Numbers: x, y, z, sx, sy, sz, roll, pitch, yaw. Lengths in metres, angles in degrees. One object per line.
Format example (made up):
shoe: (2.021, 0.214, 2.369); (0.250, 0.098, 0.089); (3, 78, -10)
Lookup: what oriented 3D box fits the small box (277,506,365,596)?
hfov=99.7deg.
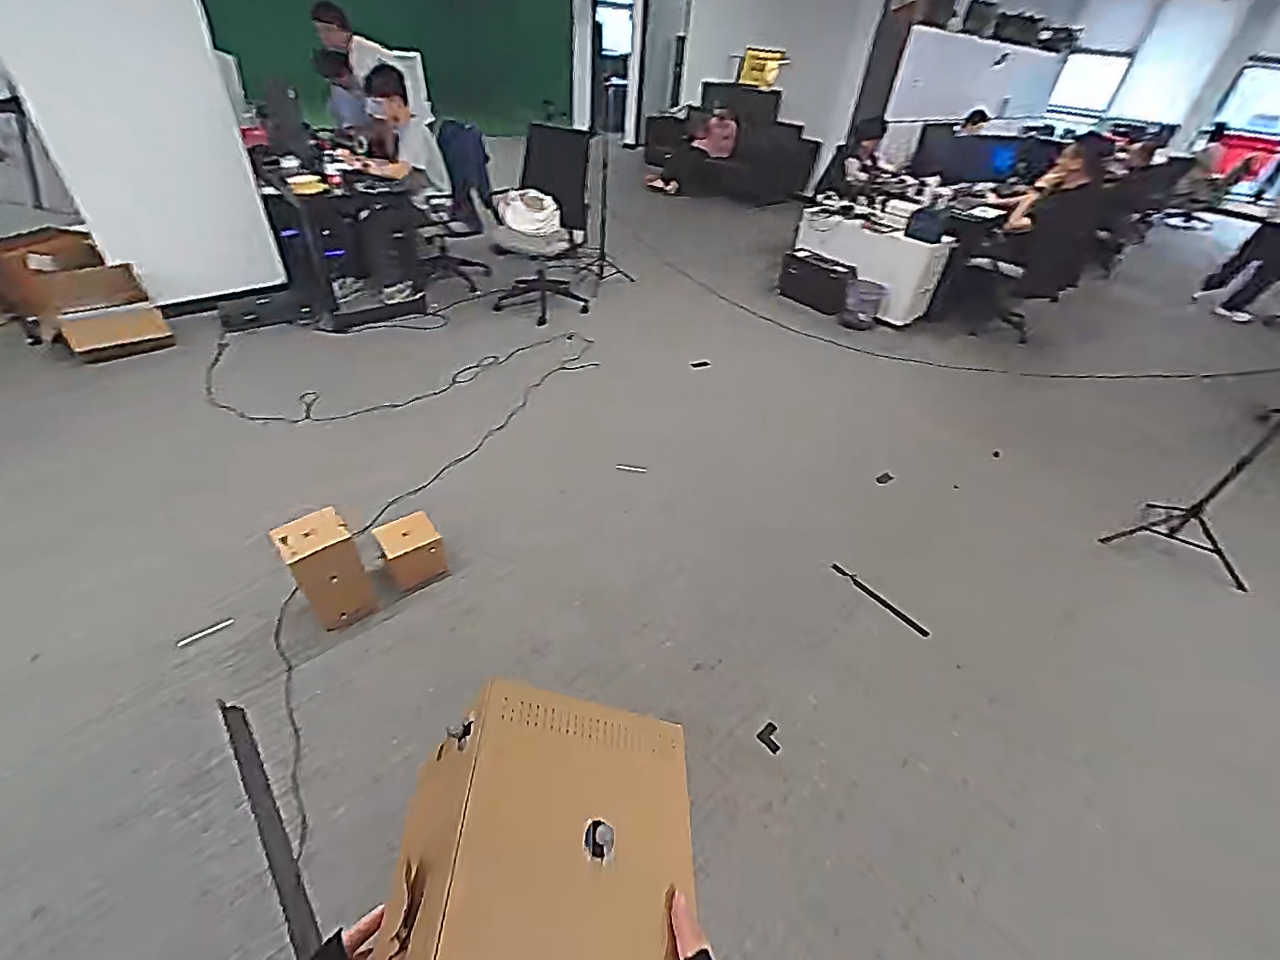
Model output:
small box: (-0.952, 0.214, 1.630); (0.179, 0.176, 0.168); (-27, 49, -33)

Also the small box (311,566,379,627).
small box: (-0.967, 0.336, 1.738); (0.168, 0.176, 0.179); (-27, 50, -32)

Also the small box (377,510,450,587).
small box: (-0.782, 0.241, 1.879); (0.179, 0.176, 0.168); (-24, 48, -32)

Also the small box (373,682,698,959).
small box: (-0.079, 0.279, 0.420); (0.179, 0.168, 0.176); (23, 38, -21)
